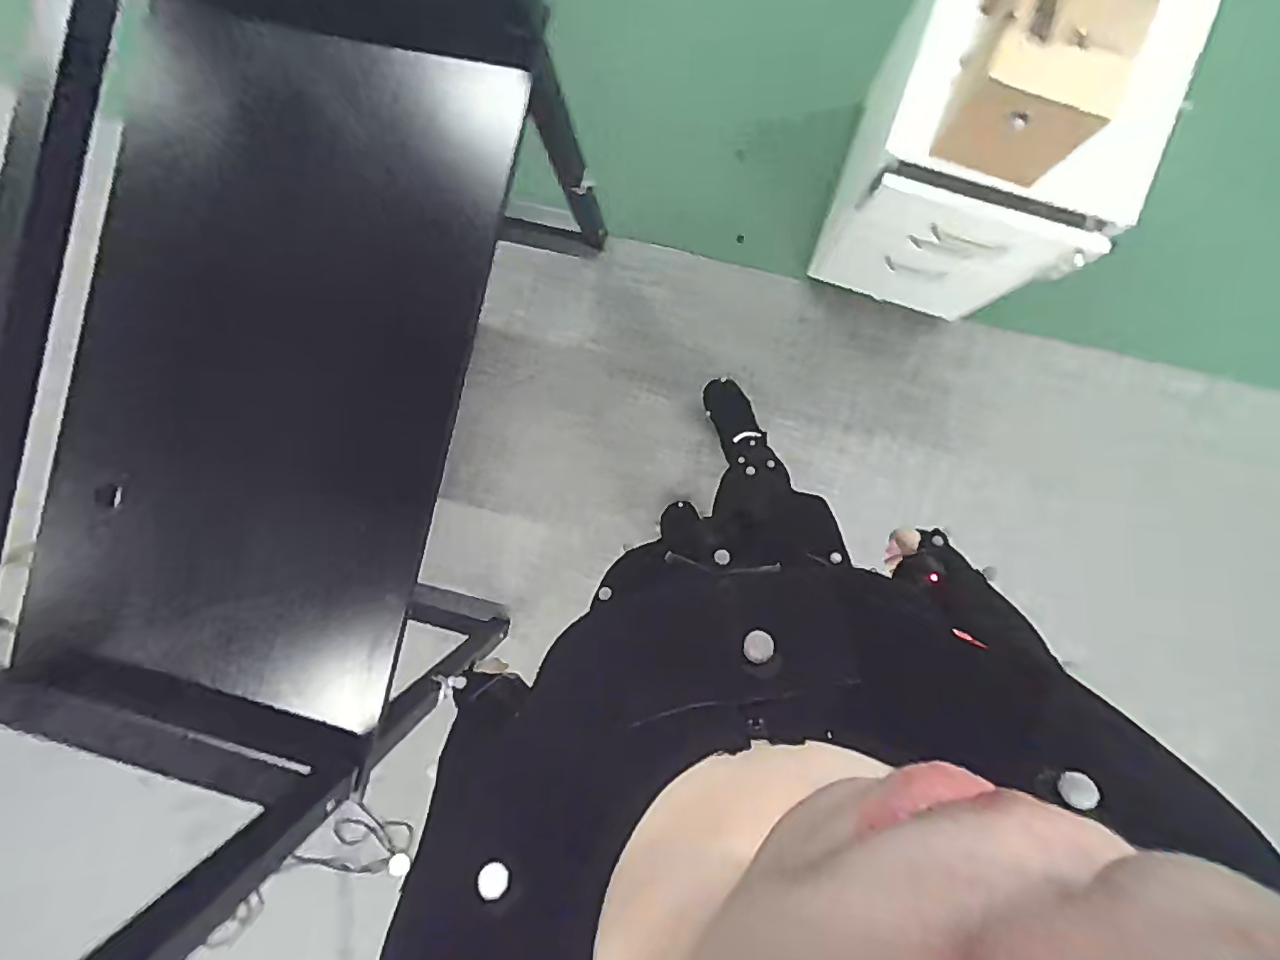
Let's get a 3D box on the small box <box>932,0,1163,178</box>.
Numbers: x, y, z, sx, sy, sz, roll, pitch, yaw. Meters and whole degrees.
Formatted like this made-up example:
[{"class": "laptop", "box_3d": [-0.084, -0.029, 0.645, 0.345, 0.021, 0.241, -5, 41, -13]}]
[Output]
[{"class": "small box", "box_3d": [0.550, -0.563, 0.757, 0.179, 0.176, 0.168, 21, 92, 3]}]
